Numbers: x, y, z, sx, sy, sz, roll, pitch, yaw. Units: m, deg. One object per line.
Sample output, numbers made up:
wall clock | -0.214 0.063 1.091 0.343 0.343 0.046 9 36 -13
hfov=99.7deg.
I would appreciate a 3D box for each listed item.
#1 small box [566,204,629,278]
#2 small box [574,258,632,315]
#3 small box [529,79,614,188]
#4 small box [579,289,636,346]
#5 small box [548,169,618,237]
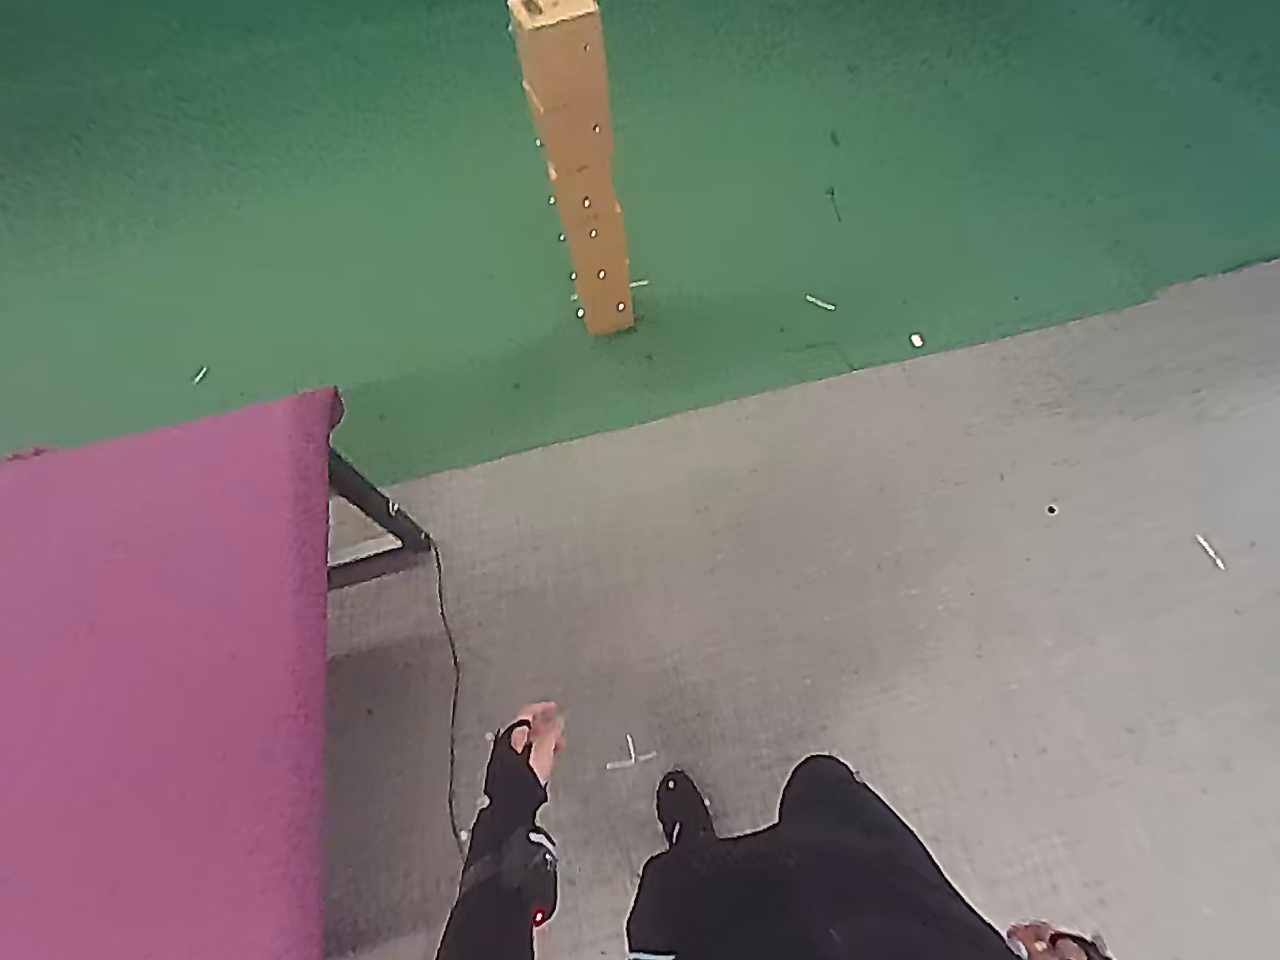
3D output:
small box | -0.145 -0.785 1.754 0.179 0.176 0.168 -18 63 -5
small box | -0.128 -0.712 1.899 0.179 0.176 0.168 -16 62 -4
small box | -0.177 -0.934 1.465 0.179 0.176 0.168 -23 62 -6
small box | -0.119 -0.636 2.041 0.179 0.176 0.168 -17 62 -5
small box | -0.168 -0.848 1.604 0.168 0.176 0.179 -15 63 -3
